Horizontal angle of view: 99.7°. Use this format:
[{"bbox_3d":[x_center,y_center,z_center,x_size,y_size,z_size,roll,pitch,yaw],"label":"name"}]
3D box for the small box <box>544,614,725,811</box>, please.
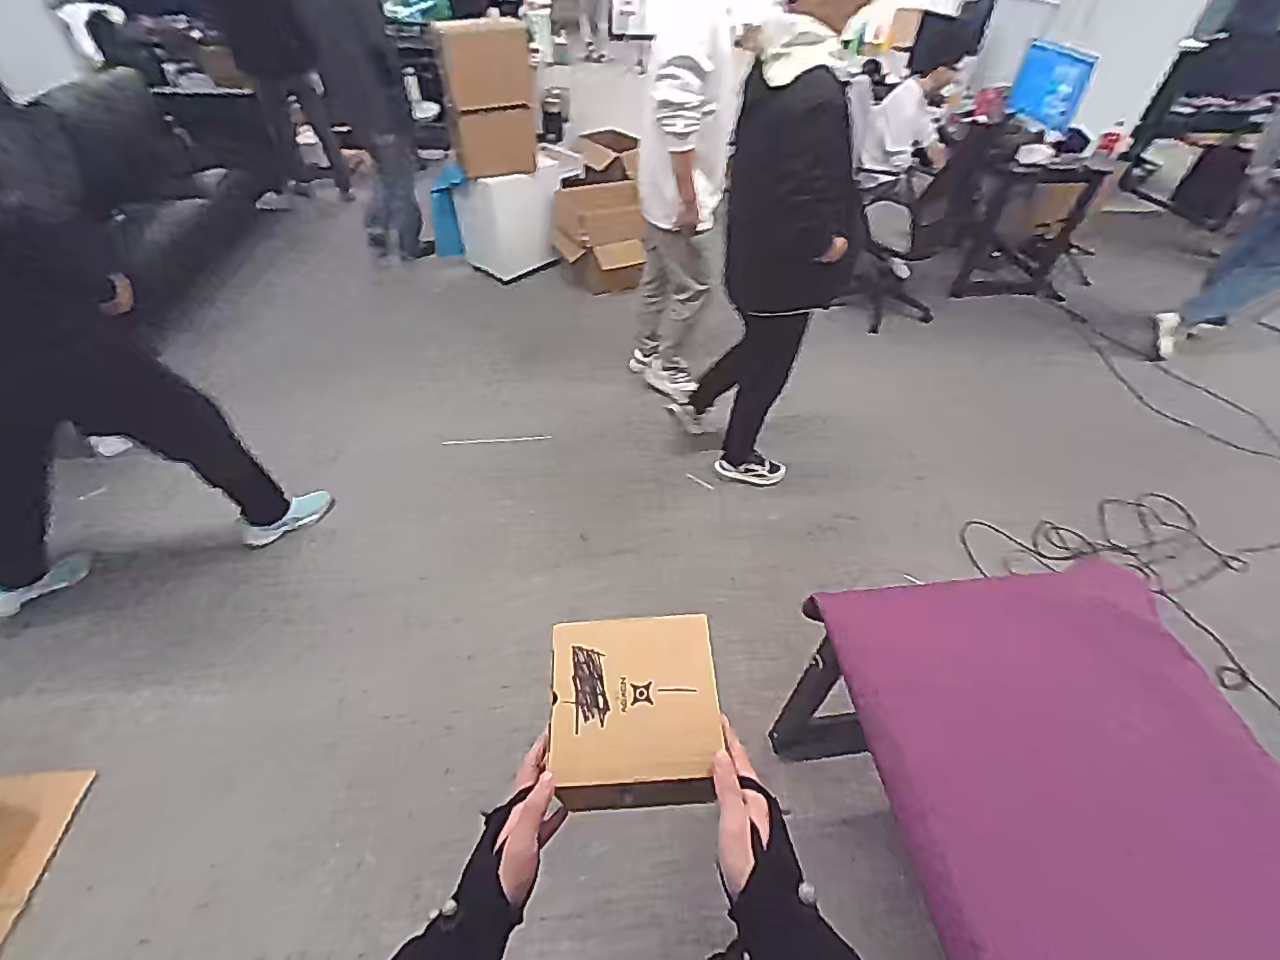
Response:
[{"bbox_3d":[-0.006,0.271,0.621,0.179,0.176,0.168,-4,51,-1],"label":"small box"}]
